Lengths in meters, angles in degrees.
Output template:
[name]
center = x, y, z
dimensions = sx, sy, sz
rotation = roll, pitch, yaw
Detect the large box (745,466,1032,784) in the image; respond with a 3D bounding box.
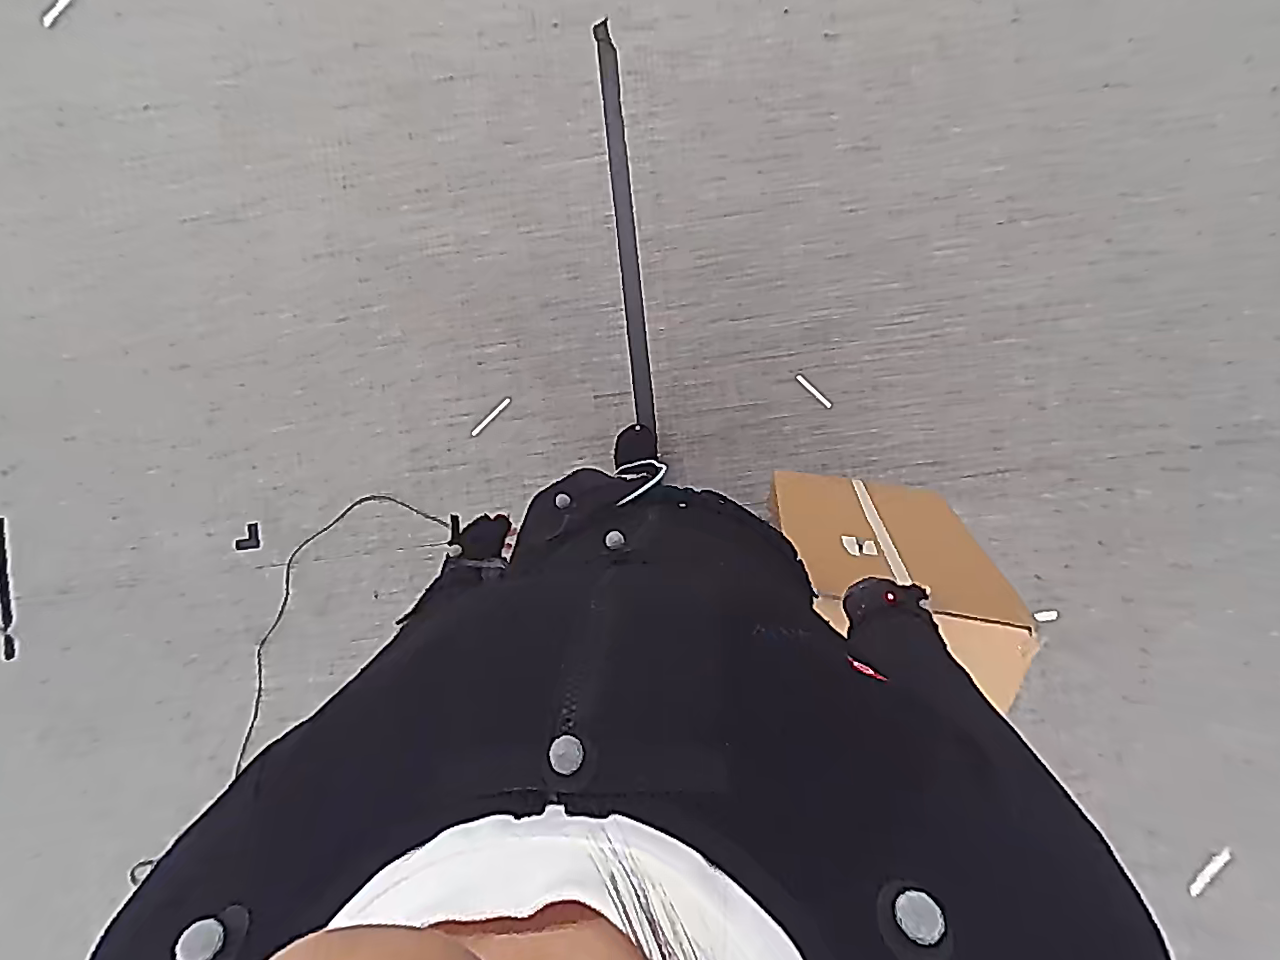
[large box]
center = 0.359, 0.214, 0.927
dimensions = 0.320, 0.408, 0.320
rotation = 8, 117, 8
